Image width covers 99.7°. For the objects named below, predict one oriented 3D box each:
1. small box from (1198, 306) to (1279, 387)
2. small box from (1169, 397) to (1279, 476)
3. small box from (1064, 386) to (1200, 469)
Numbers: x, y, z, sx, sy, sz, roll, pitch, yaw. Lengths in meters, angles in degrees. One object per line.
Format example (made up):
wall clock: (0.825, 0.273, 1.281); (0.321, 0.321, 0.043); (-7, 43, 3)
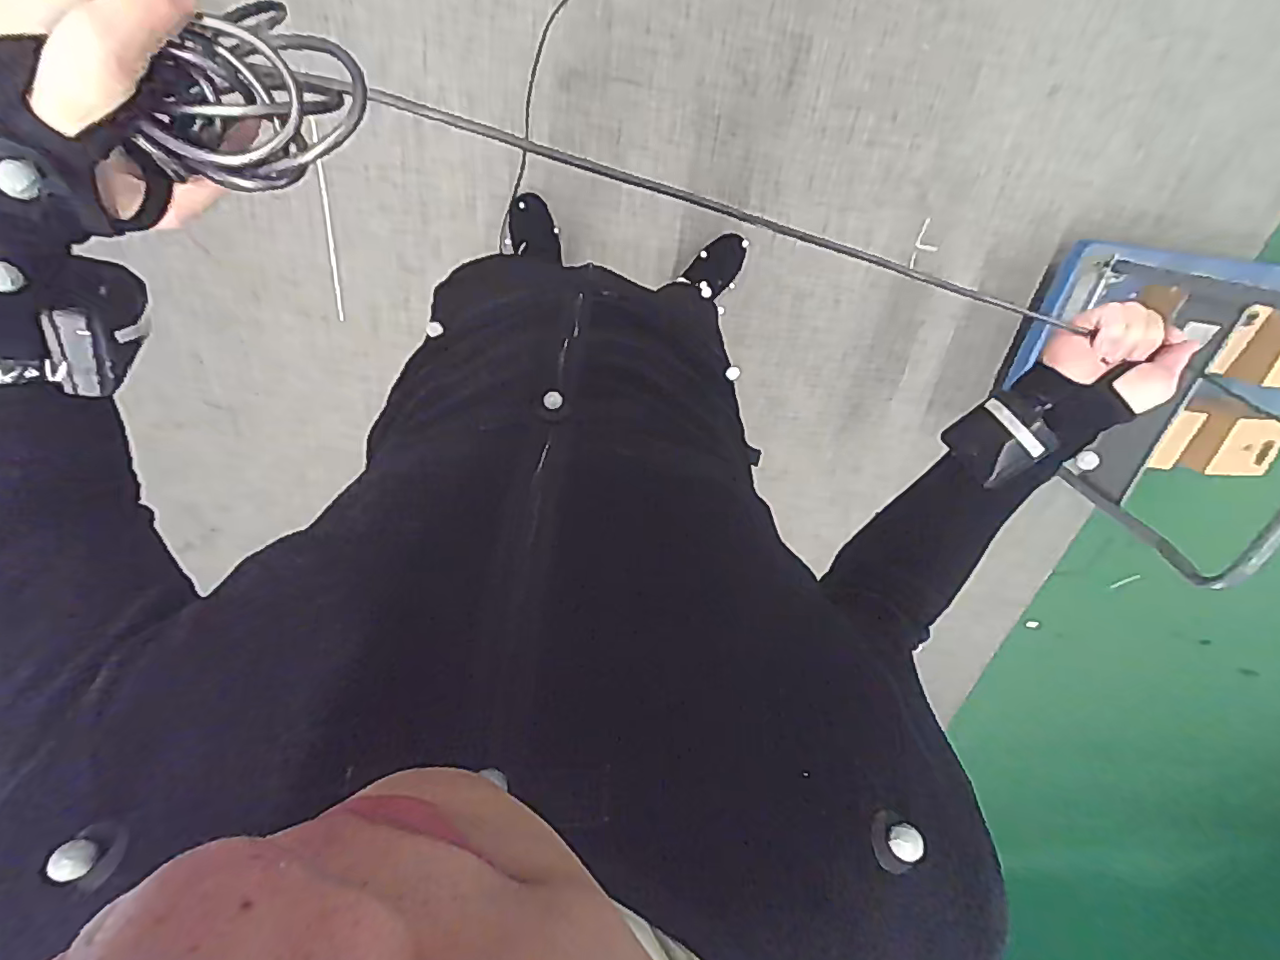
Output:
small box: (1.612, -0.341, 1.379); (0.179, 0.176, 0.168); (2, 121, -5)
small box: (1.597, -0.123, 1.505); (0.179, 0.176, 0.168); (2, 119, -4)
small box: (1.330, -0.147, 1.476); (0.179, 0.176, 0.168); (6, 120, -6)
